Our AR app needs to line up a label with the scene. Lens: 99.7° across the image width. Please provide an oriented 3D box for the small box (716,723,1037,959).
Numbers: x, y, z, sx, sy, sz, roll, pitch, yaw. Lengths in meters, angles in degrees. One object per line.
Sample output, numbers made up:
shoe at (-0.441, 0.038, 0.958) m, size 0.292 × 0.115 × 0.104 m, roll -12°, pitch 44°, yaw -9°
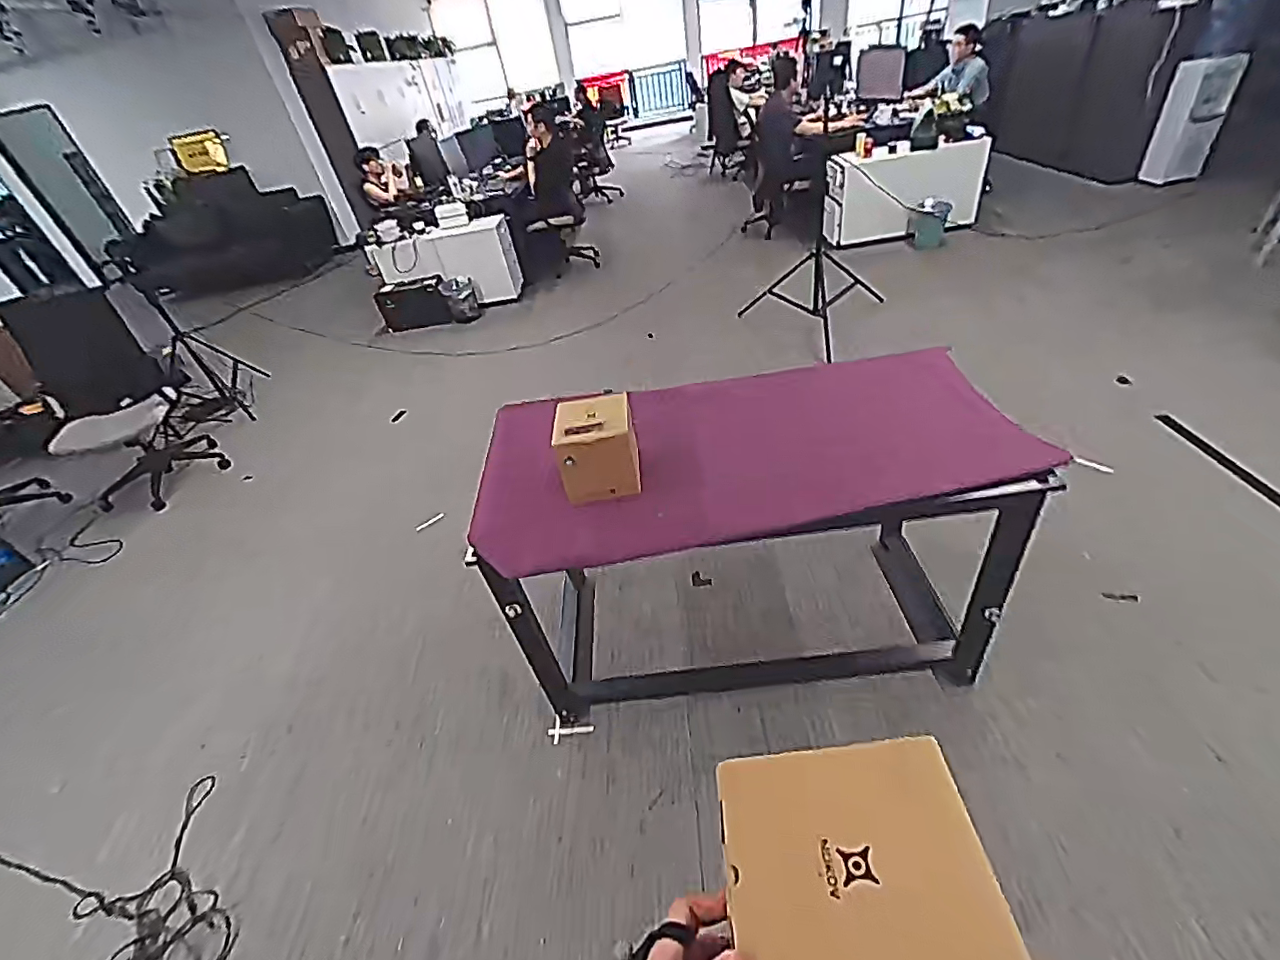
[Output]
small box at (0.166, 0.318, 0.416) m, size 0.179 × 0.176 × 0.168 m, roll -13°, pitch 33°, yaw 10°
